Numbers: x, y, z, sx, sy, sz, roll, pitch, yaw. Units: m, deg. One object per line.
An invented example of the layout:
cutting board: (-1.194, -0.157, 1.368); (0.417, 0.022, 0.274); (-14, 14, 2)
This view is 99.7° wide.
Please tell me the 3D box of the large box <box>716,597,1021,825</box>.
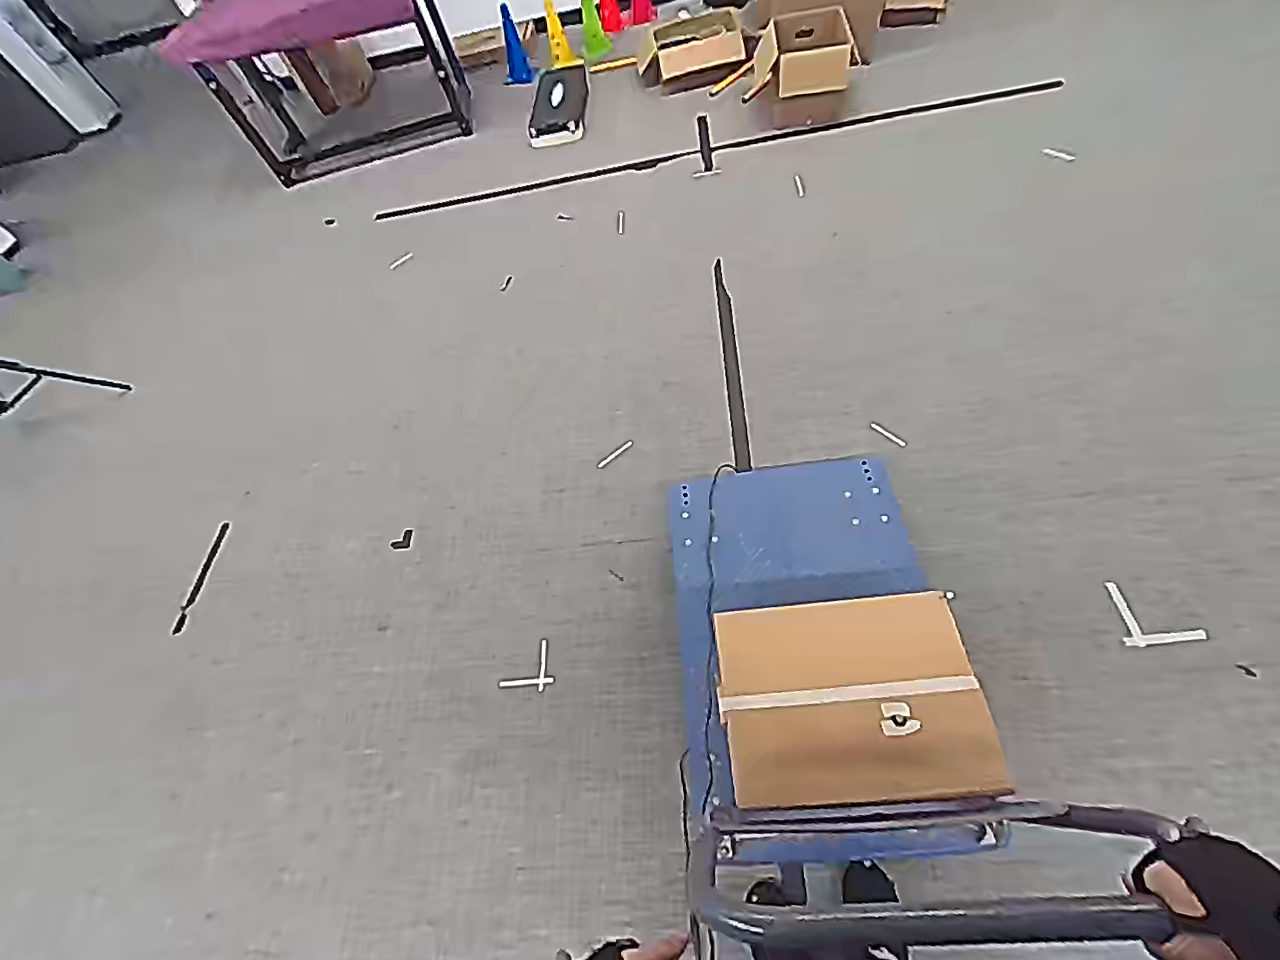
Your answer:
large box: (0.363, 0.435, 0.990); (0.408, 0.320, 0.320); (-7, 58, 6)
